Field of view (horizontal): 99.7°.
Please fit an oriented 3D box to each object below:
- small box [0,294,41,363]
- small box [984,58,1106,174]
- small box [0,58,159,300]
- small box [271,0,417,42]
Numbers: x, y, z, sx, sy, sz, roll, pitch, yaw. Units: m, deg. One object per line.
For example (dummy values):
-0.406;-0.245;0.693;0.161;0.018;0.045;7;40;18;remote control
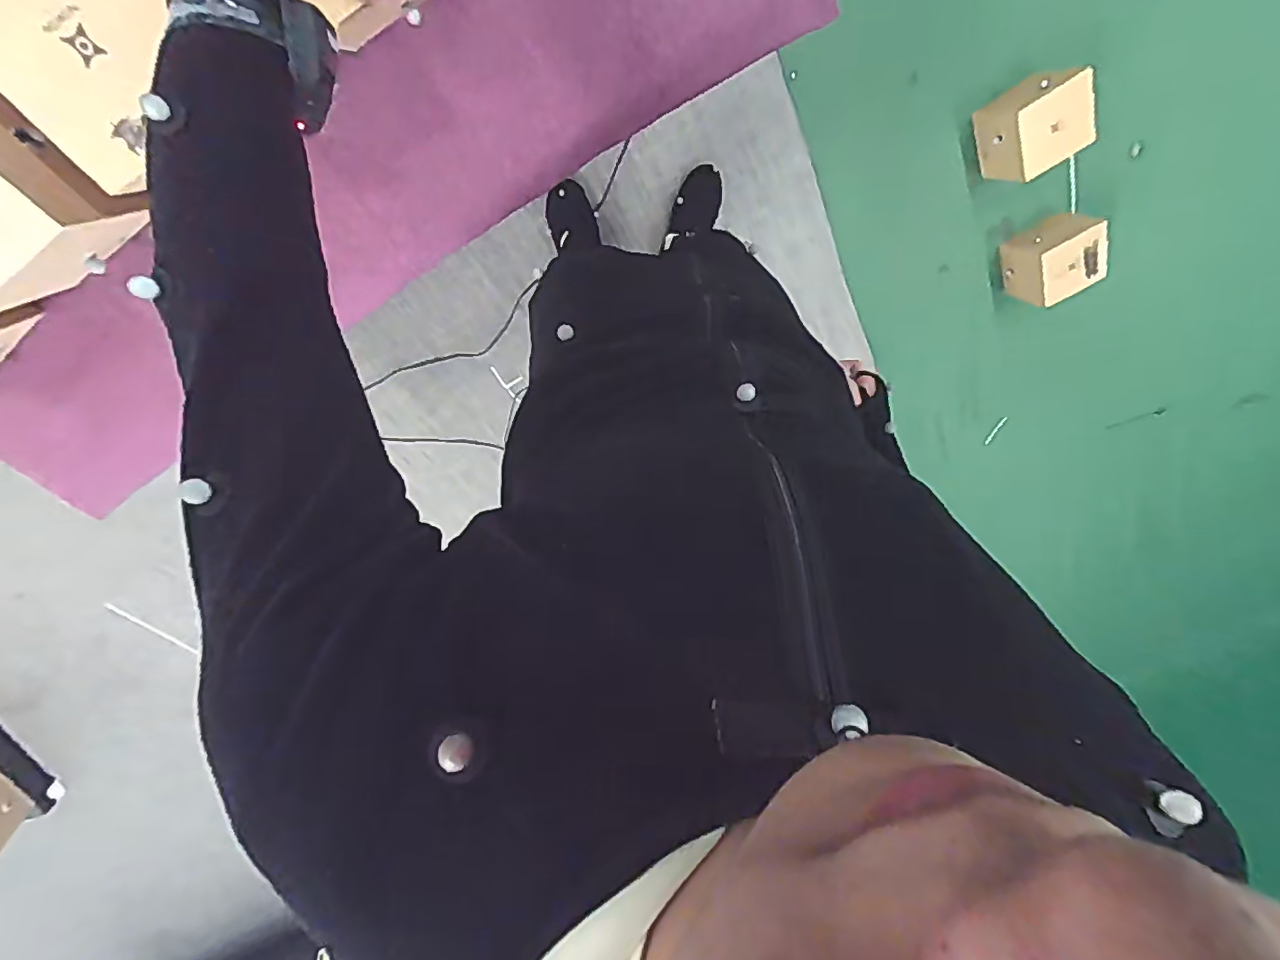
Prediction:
-0.843;-0.179;0.582;0.168;0.176;0.179;-34;123;14;small box
0.966;-0.871;1.305;0.179;0.176;0.168;-30;123;10;small box
-0.654;-0.297;0.534;0.168;0.176;0.179;-30;124;11;small box
-0.265;-0.507;0.452;0.168;0.176;0.179;-28;129;9;small box
